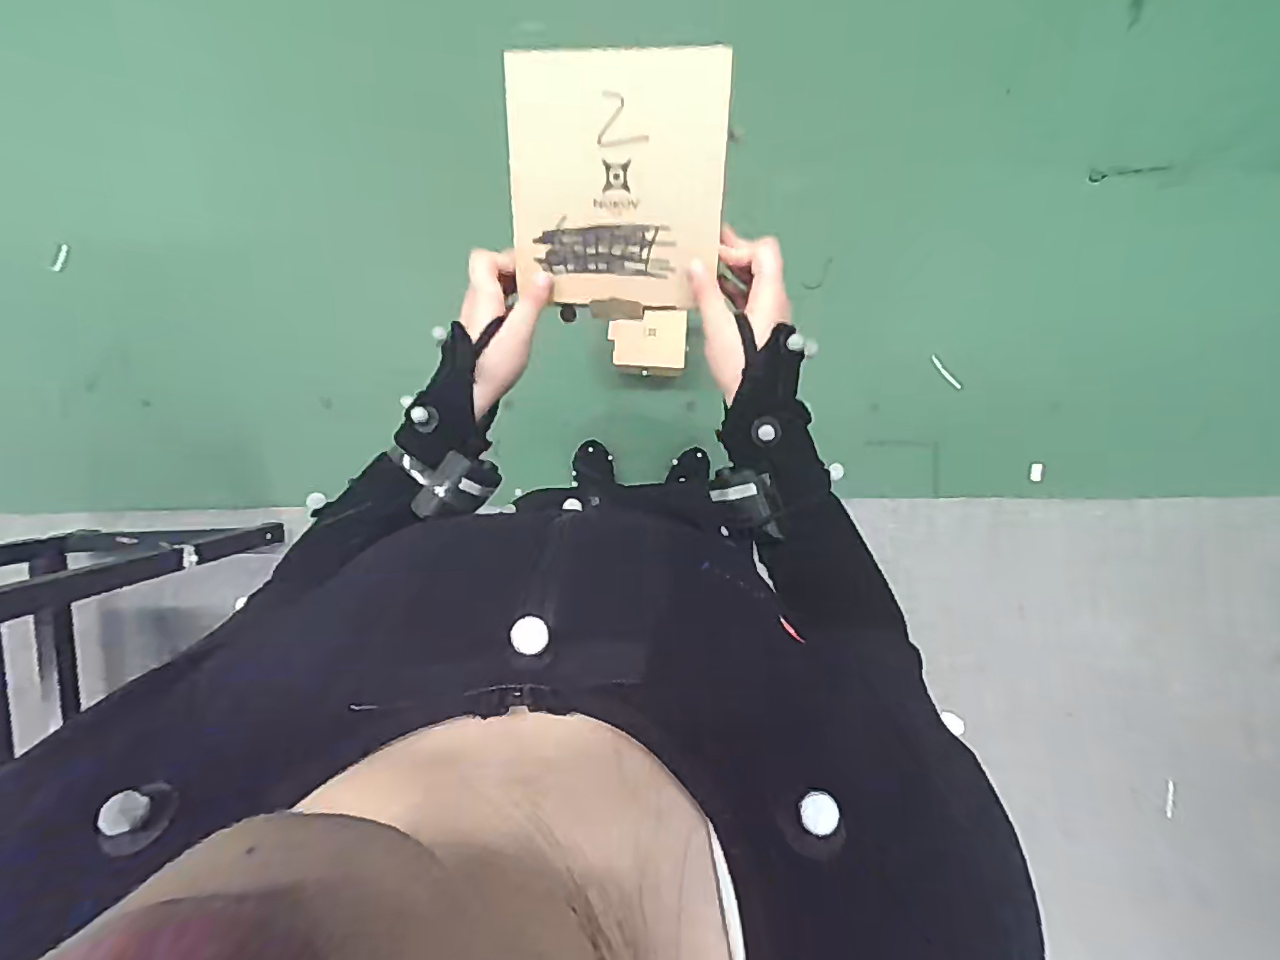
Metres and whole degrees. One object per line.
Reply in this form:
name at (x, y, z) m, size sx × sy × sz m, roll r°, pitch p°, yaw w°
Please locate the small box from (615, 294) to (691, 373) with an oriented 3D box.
small box at (0.030, -0.364, 1.371) m, size 0.179 × 0.176 × 0.168 m, roll 3°, pitch 95°, yaw 0°
